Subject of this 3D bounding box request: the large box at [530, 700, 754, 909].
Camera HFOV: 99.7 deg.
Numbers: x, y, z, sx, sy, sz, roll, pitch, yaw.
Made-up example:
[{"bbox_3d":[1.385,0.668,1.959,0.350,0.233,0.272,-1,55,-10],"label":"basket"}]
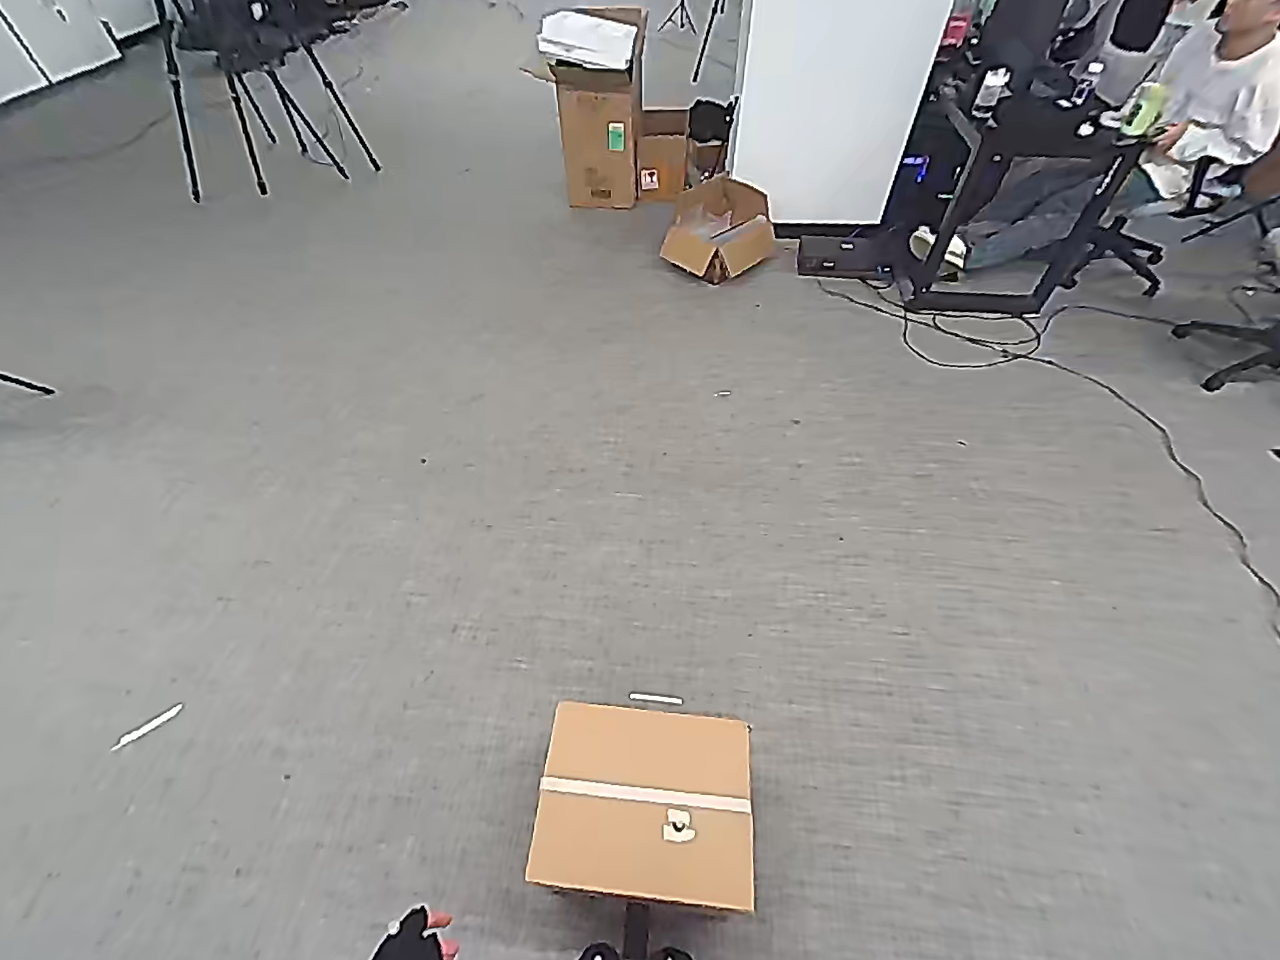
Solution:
[{"bbox_3d":[0.011,0.694,1.152,0.408,0.320,0.320,5,51,3],"label":"large box"}]
